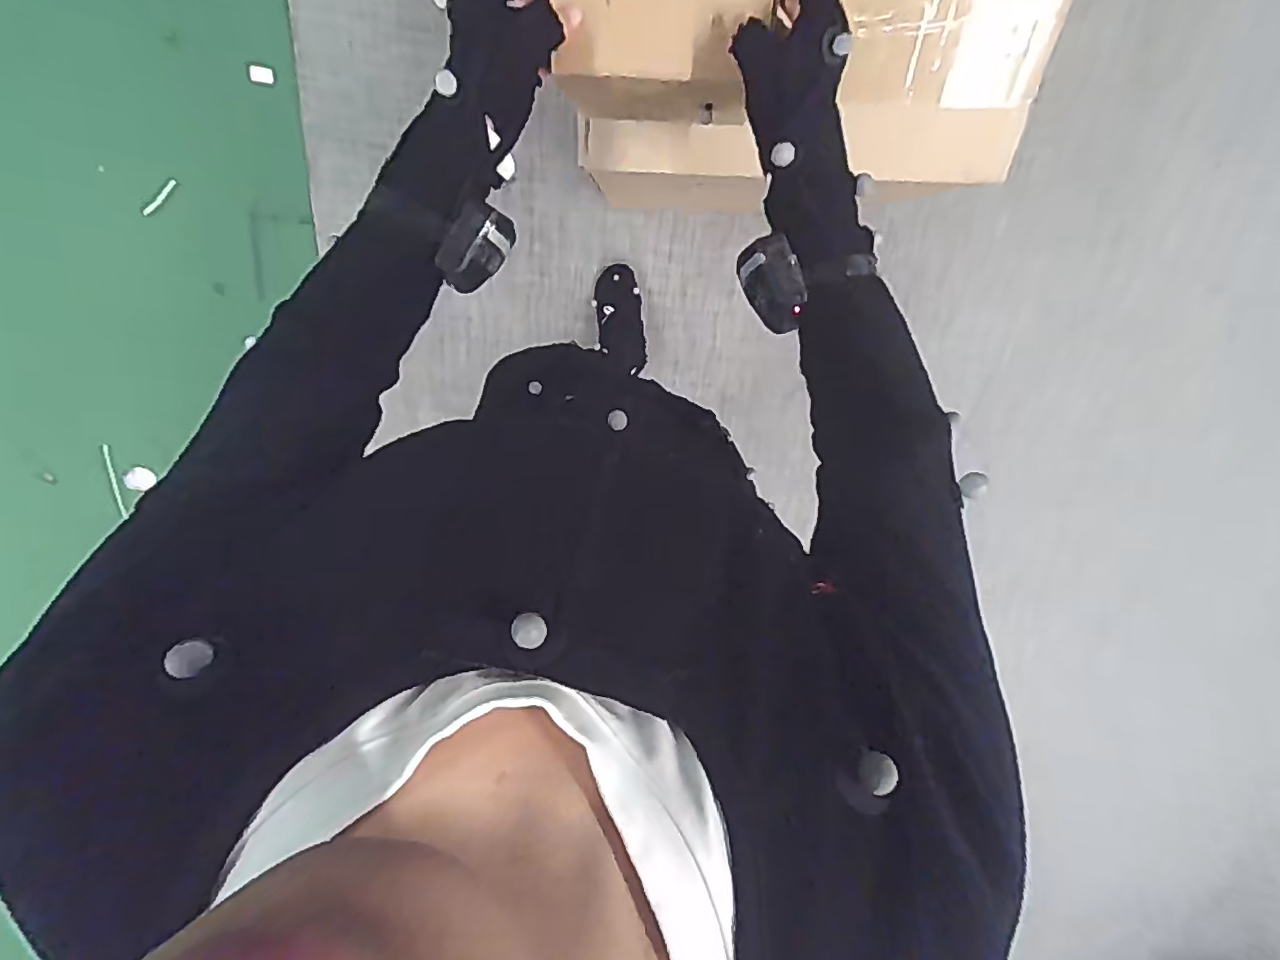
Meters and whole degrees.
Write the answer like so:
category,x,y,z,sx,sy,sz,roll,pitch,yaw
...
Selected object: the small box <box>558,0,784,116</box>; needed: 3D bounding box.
category,x,y,z,sx,sy,sz,roll,pitch,yaw
small box,0.029,-0.435,0.473,0.179,0.176,0.168,4,114,3
